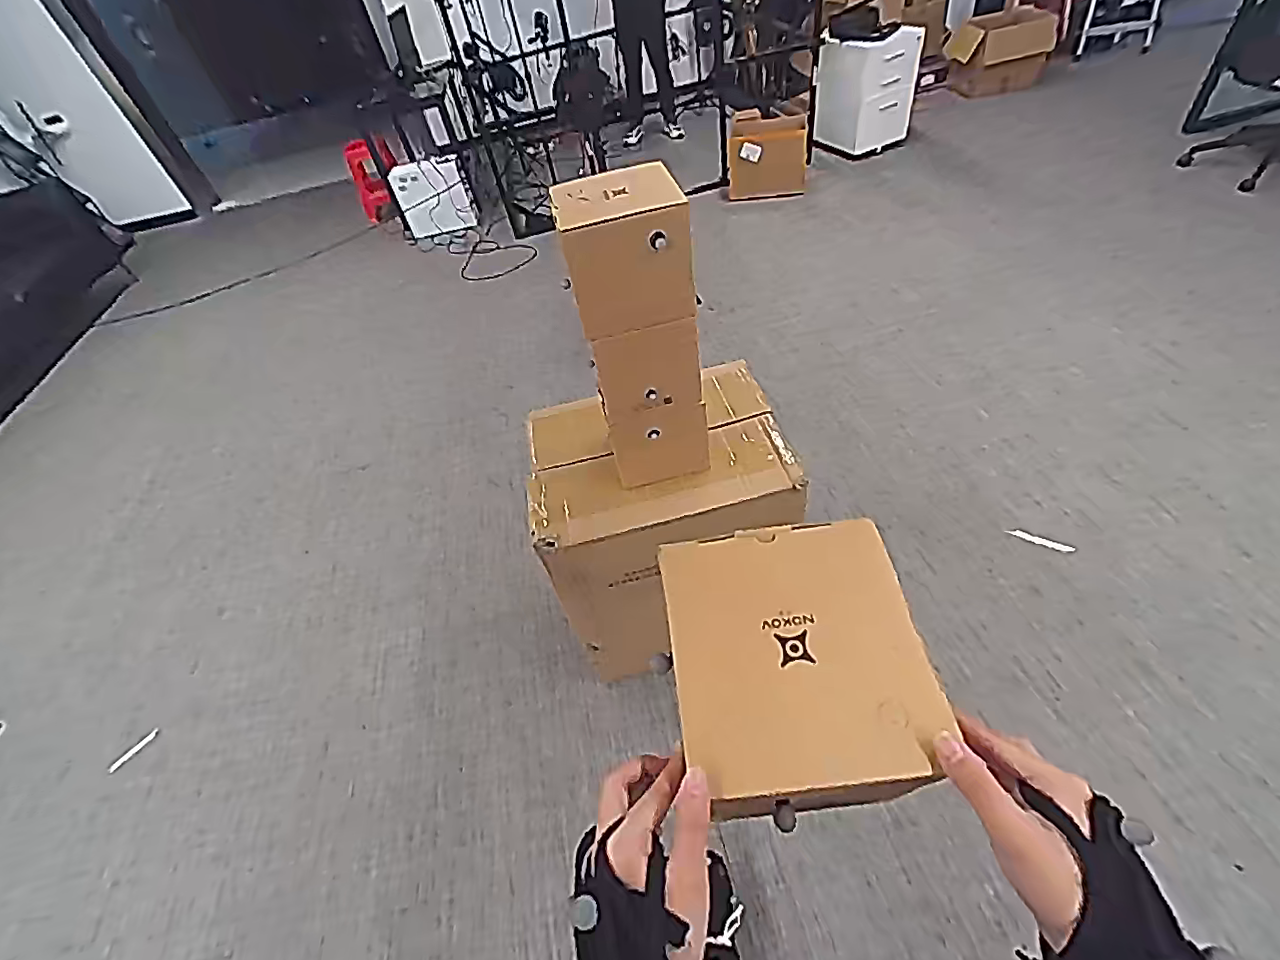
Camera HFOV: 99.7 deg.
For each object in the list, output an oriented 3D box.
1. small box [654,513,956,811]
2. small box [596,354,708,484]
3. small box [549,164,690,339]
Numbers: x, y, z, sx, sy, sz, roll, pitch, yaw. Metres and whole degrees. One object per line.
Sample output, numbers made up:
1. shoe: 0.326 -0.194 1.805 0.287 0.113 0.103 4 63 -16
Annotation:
1. small box: 0.109 0.152 0.429 0.168 0.176 0.179 -9 52 3
2. small box: 0.024 -0.113 1.044 0.179 0.176 0.168 -14 47 -1
3. small box: -0.026 -0.338 0.808 0.179 0.176 0.168 -14 47 -1
